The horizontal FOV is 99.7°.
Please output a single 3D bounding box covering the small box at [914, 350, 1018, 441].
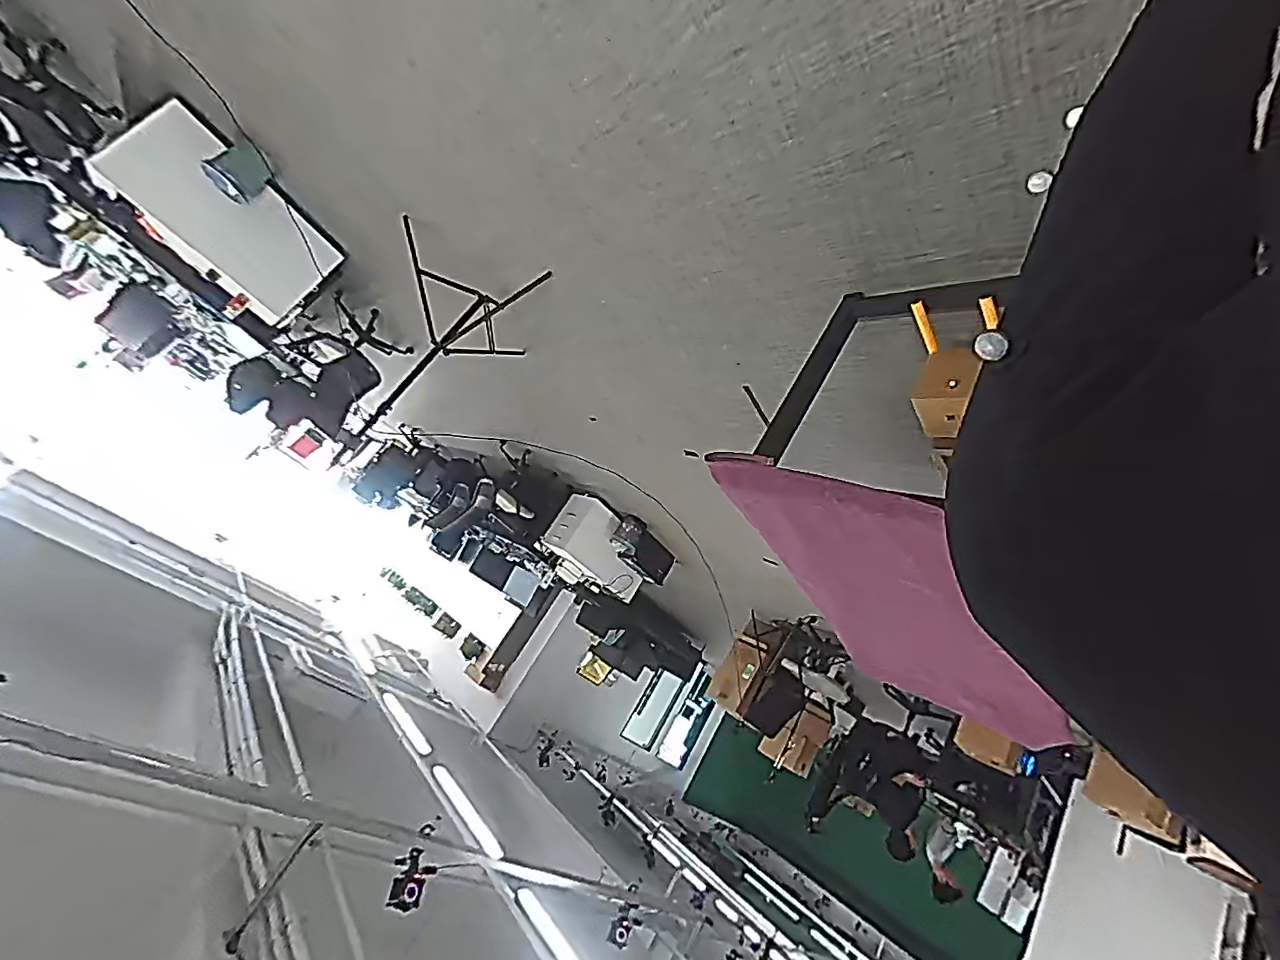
[{"bbox_3d":[0.855,-0.220,1.414,0.179,0.176,0.168,7,150,49],"label":"small box"}]
